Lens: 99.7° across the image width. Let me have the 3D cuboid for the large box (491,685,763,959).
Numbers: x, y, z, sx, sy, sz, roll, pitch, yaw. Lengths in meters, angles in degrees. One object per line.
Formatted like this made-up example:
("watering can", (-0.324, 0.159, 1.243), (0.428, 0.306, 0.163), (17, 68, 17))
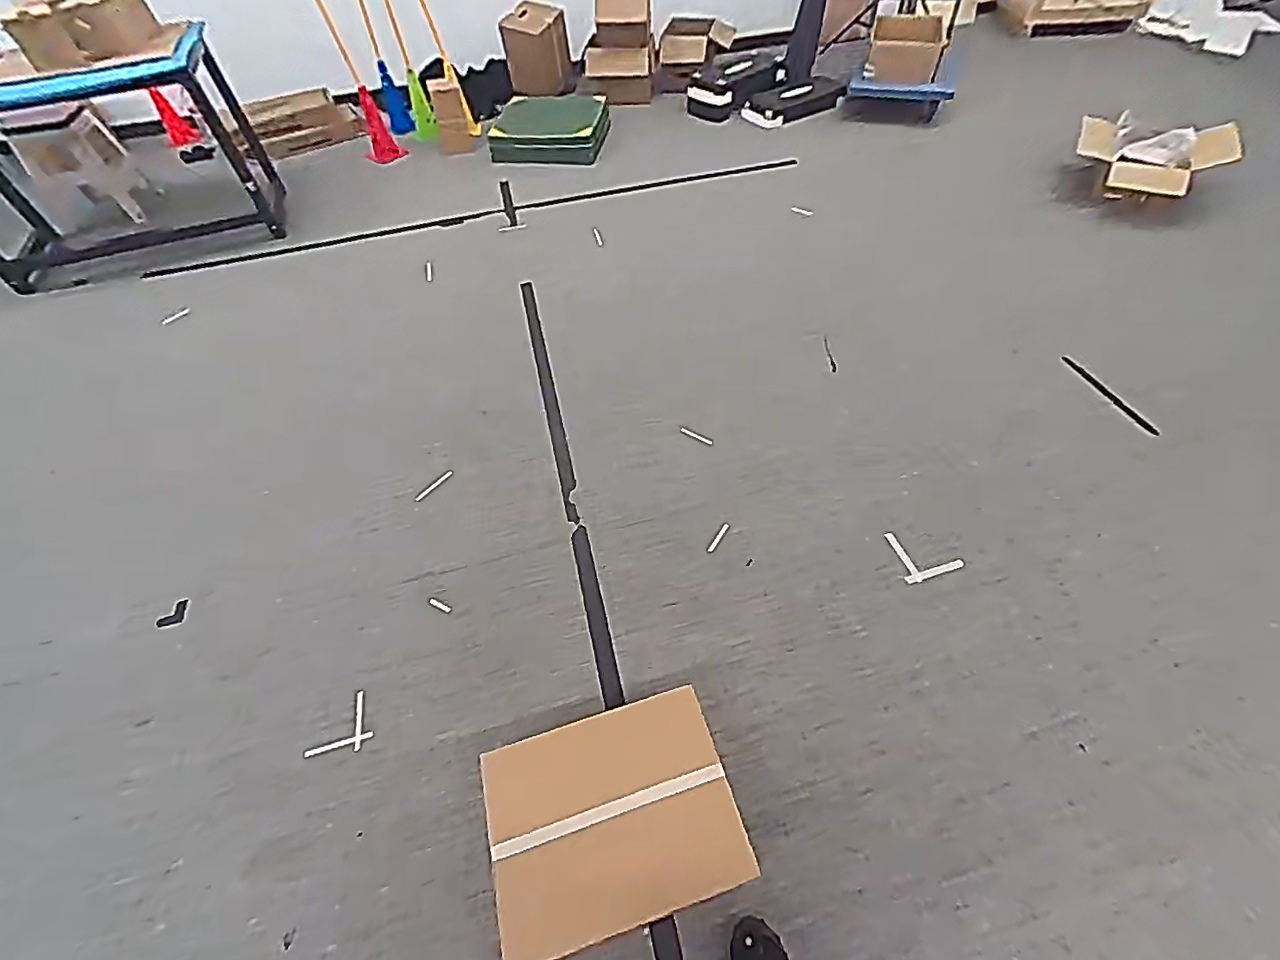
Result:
("large box", (-0.029, 0.649, 1.027), (0.408, 0.320, 0.320), (-16, 54, -8))
